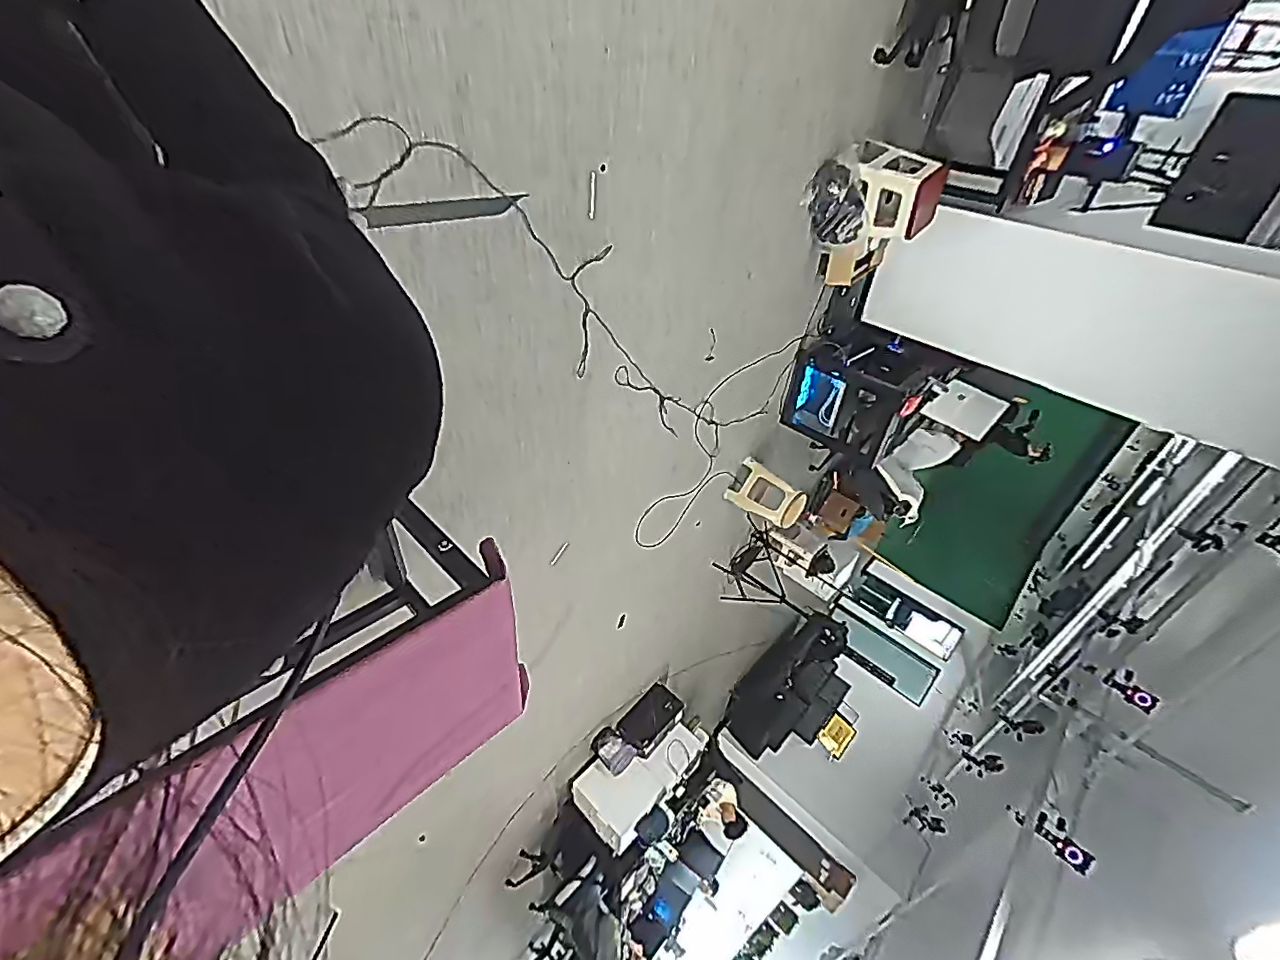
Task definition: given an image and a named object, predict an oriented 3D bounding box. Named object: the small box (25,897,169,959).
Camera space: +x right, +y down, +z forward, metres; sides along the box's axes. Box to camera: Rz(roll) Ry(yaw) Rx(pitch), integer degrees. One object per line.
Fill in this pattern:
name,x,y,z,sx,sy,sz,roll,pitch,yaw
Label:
small box,-0.879,0.828,0.858,0.179,0.176,0.168,-30,141,-39
